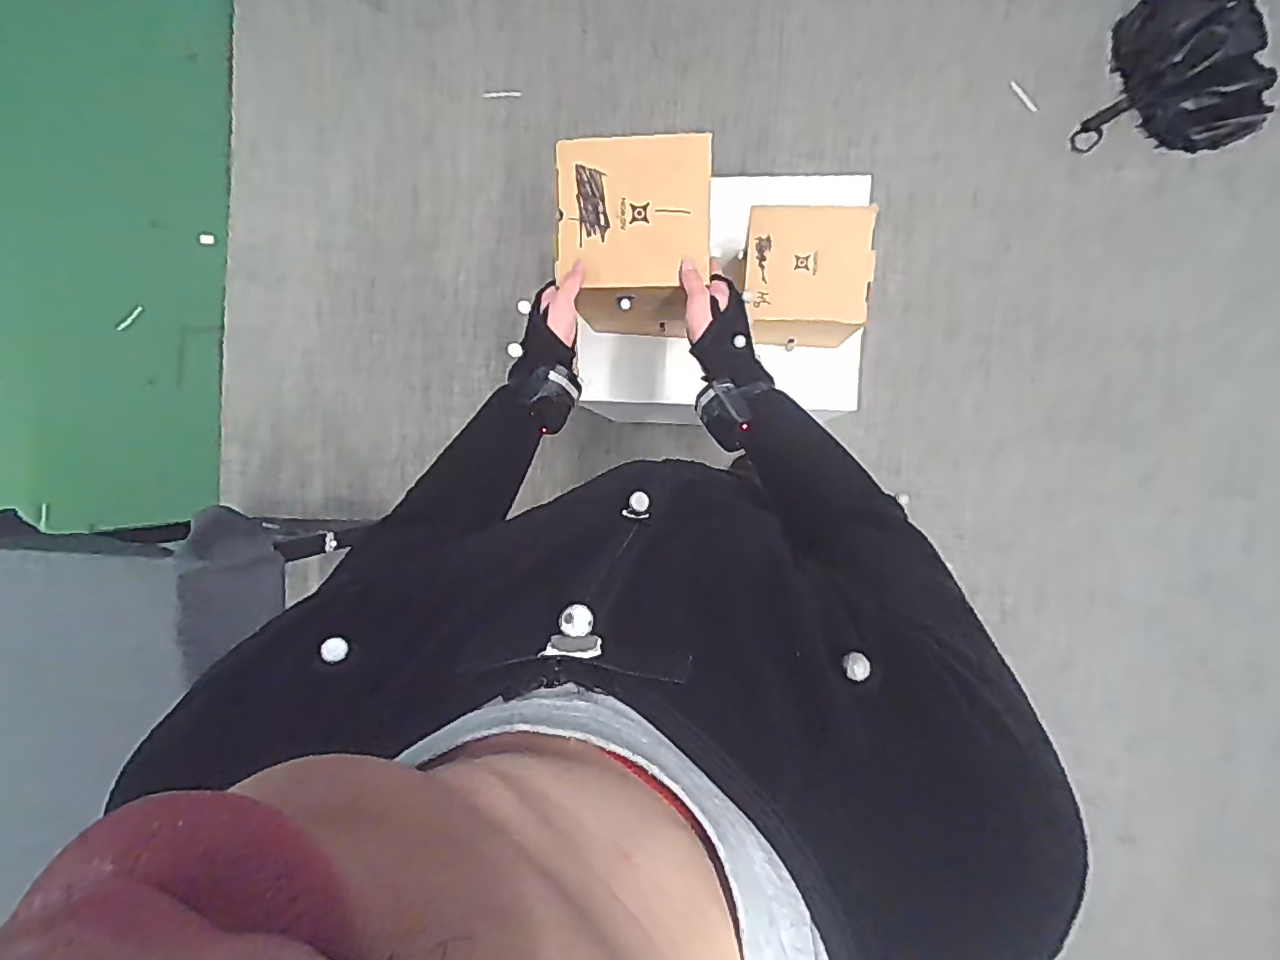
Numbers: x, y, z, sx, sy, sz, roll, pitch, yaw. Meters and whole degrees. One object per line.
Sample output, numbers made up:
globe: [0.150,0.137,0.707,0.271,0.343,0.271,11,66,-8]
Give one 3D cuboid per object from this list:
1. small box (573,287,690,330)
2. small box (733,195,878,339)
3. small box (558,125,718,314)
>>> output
small box: [-0.001,-0.345,0.869,0.179,0.176,0.168,4,92,6]
small box: [0.246,-0.320,0.844,0.179,0.176,0.168,5,94,5]
small box: [0.003,-0.306,0.670,0.179,0.176,0.168,1,95,4]
